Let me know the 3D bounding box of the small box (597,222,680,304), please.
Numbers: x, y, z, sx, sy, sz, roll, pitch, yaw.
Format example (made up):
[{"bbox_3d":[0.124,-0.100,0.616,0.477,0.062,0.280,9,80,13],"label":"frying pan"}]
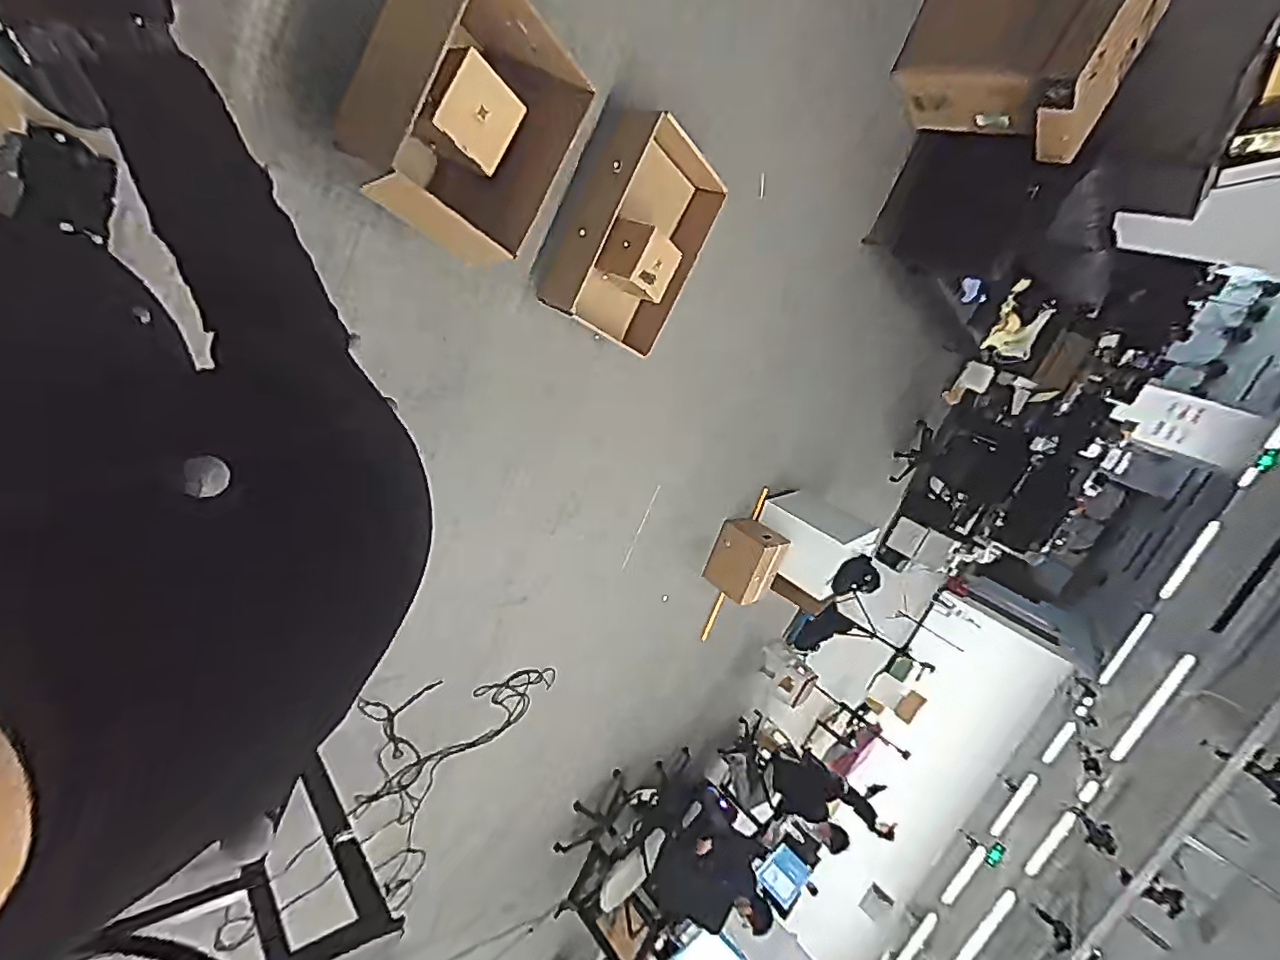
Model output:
[{"bbox_3d":[-0.011,-0.694,1.728,0.168,0.176,0.179,20,99,-54],"label":"small box"}]
